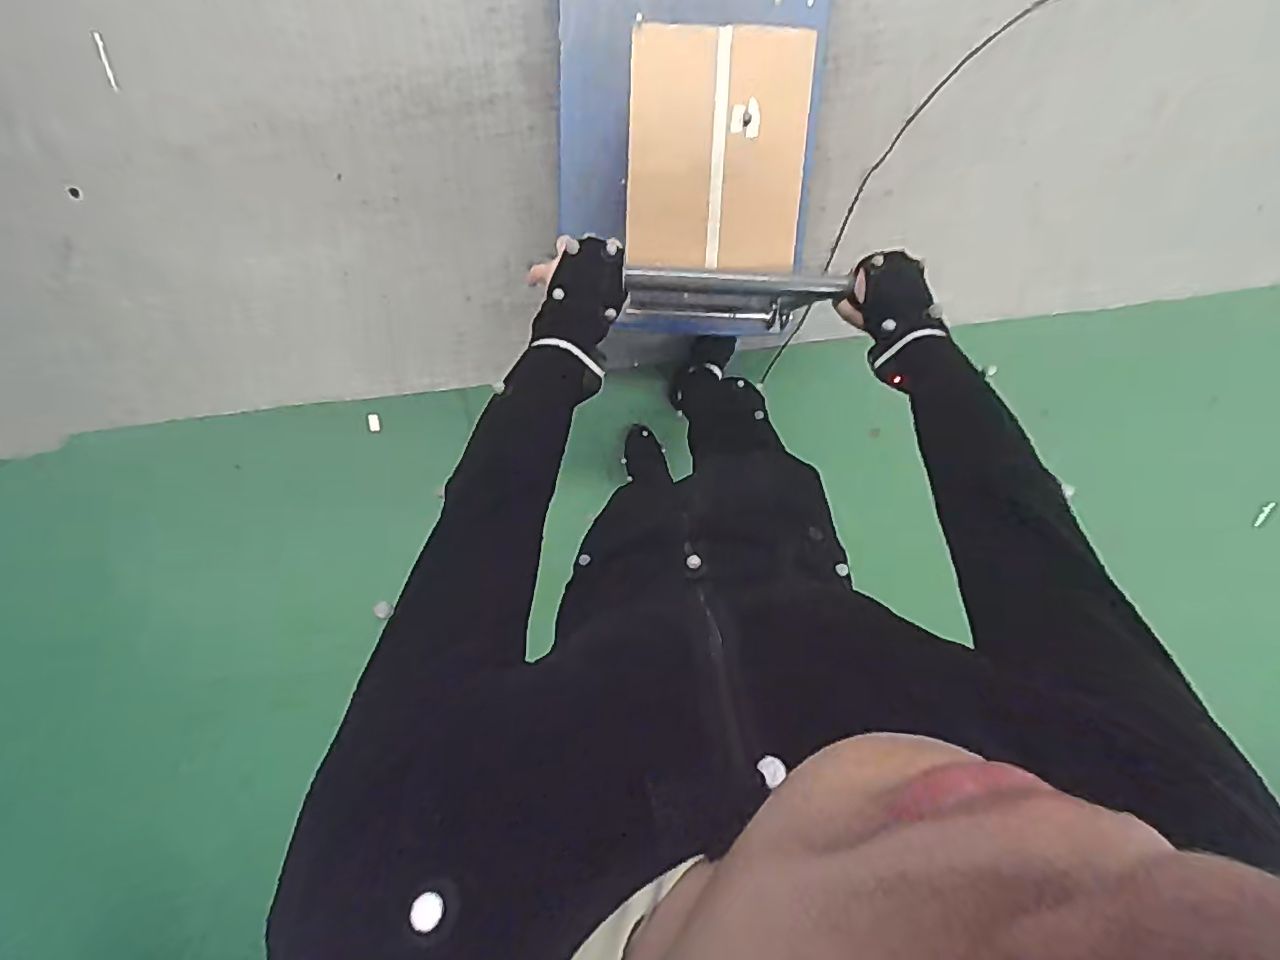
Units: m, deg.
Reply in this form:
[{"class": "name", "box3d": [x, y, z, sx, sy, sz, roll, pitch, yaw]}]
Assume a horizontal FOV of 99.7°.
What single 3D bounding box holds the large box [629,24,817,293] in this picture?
[{"class": "large box", "box3d": [0.140, -0.598, 1.089, 0.320, 0.320, 0.408, 1, 105, -2]}]
